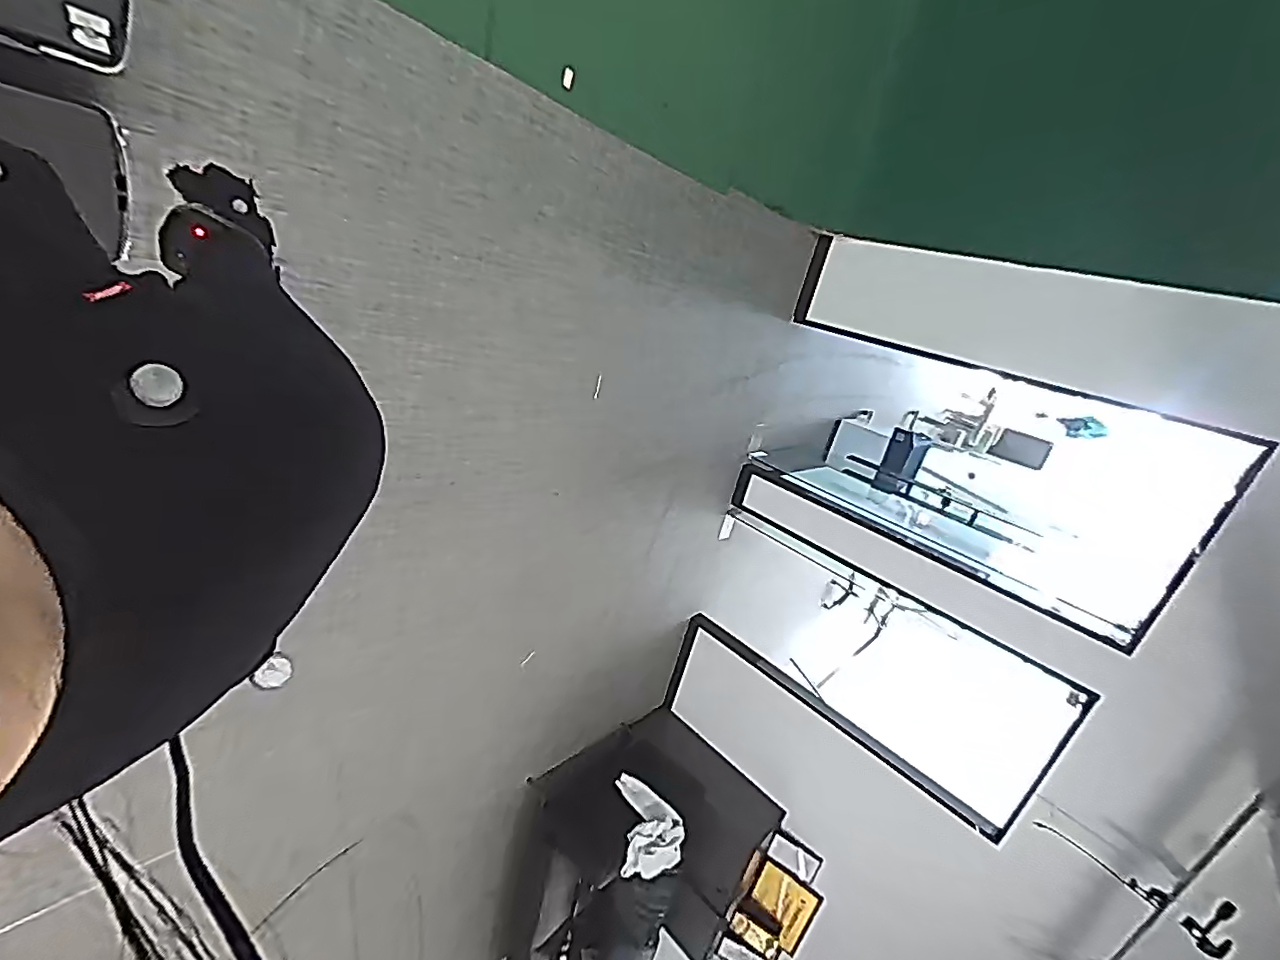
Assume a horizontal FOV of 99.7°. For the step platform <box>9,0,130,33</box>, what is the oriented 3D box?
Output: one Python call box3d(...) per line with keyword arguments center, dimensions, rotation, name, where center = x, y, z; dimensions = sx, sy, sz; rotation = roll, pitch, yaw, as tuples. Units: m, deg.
box3d(center=(-0.968, -0.761, 0.525), dimensions=(0.684, 0.204, 0.286), rotation=(-8, 120, -48), name="step platform")
